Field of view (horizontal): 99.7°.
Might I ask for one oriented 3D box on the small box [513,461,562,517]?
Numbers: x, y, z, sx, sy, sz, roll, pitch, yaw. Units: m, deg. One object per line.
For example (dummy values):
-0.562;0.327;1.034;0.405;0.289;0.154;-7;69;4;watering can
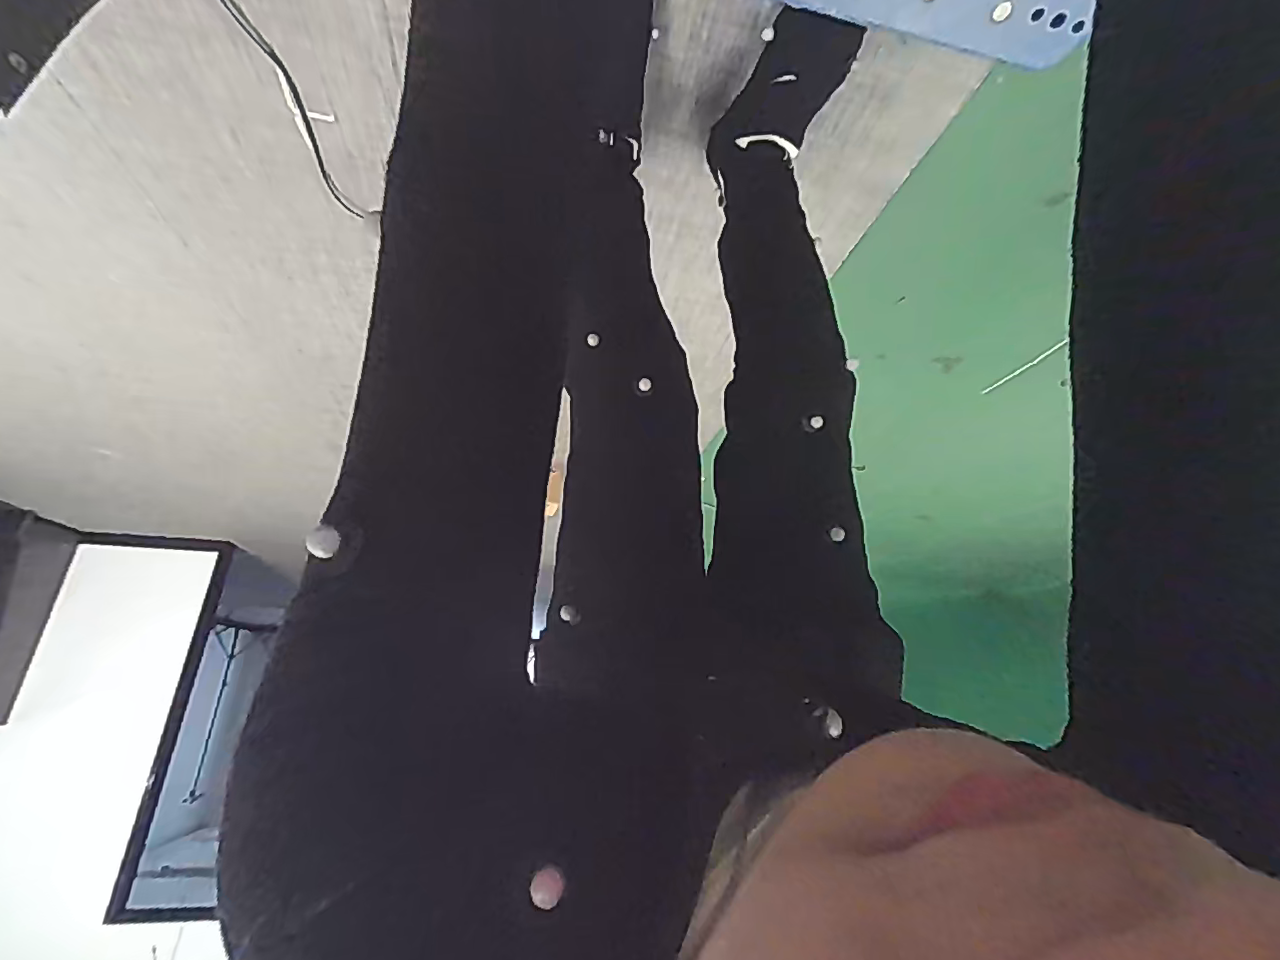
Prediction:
-0.409;0.035;2.165;0.168;0.176;0.179;9;158;-15;small box
